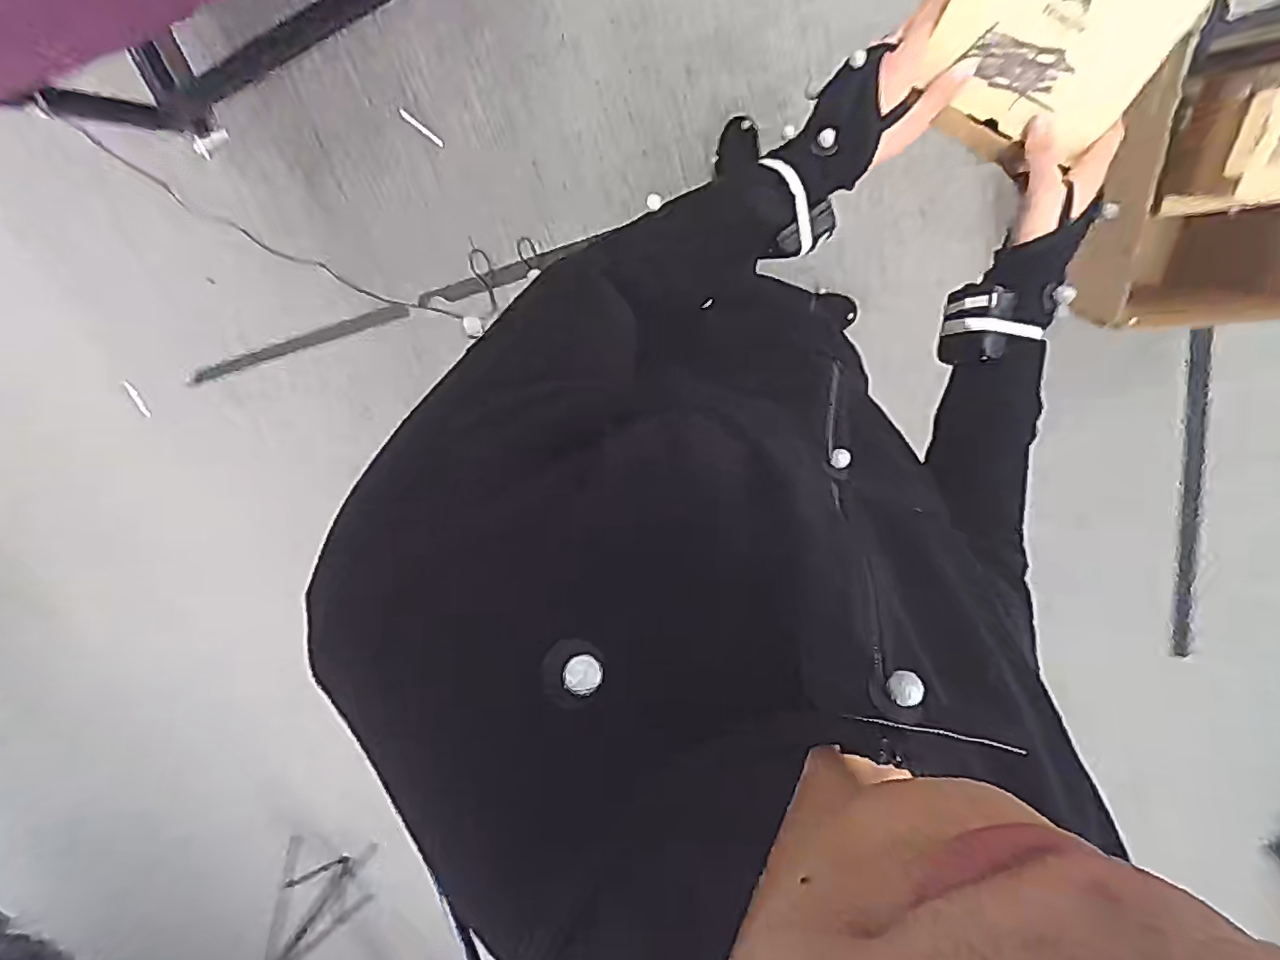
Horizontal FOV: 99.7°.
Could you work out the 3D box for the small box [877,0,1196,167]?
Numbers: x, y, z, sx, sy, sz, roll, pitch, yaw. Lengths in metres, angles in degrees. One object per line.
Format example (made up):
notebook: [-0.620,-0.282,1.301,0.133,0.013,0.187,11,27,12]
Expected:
small box: [0.328,-0.398,0.464,0.168,0.176,0.179,24,123,-4]
